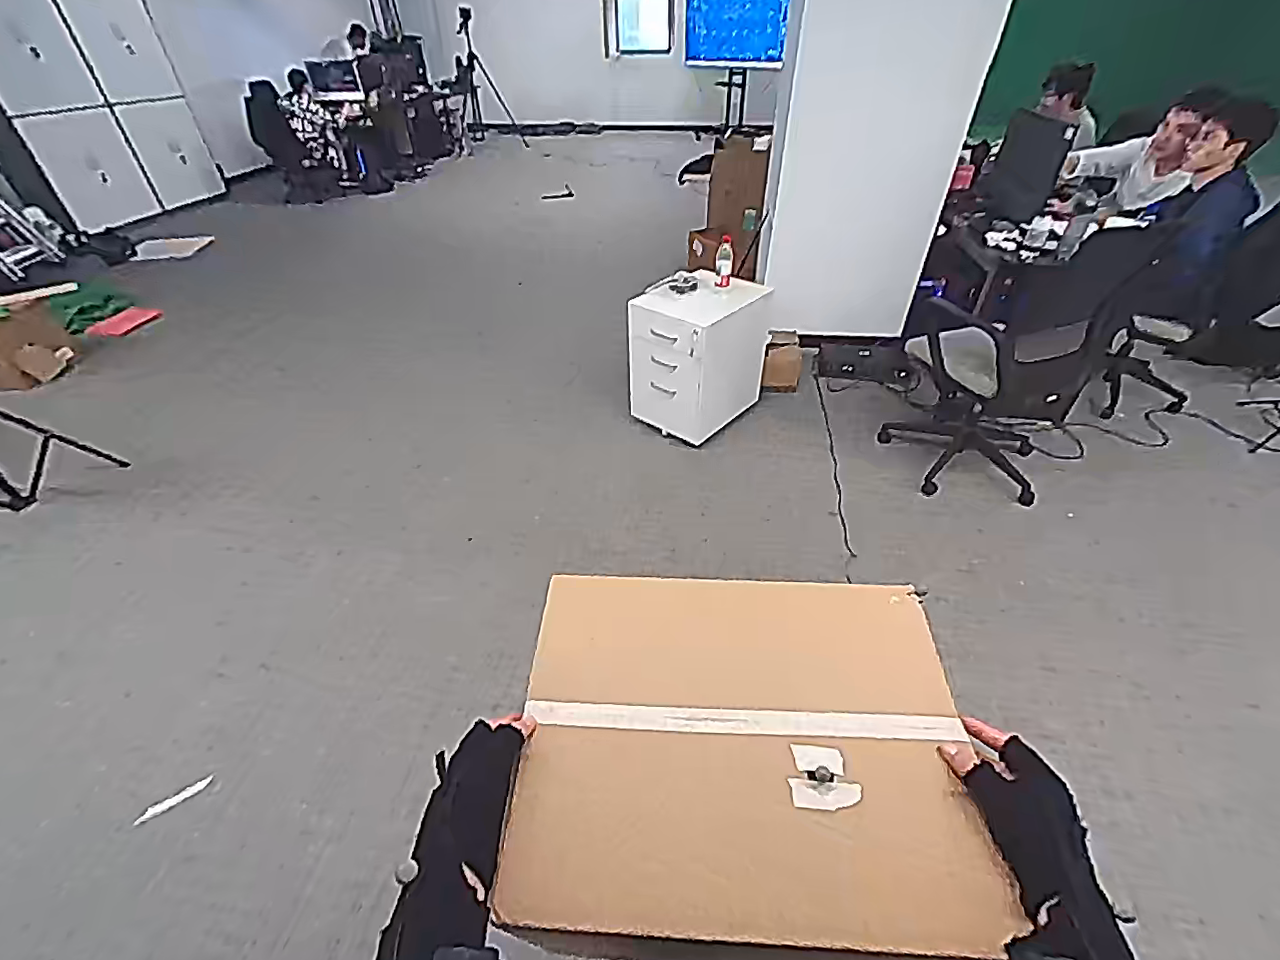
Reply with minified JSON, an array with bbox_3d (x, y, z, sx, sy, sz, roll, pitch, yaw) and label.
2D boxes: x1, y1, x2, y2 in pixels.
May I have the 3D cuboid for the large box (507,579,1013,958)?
[{"bbox_3d":[0.099,0.333,0.629,0.408,0.320,0.320,1,47,4],"label":"large box"}]
